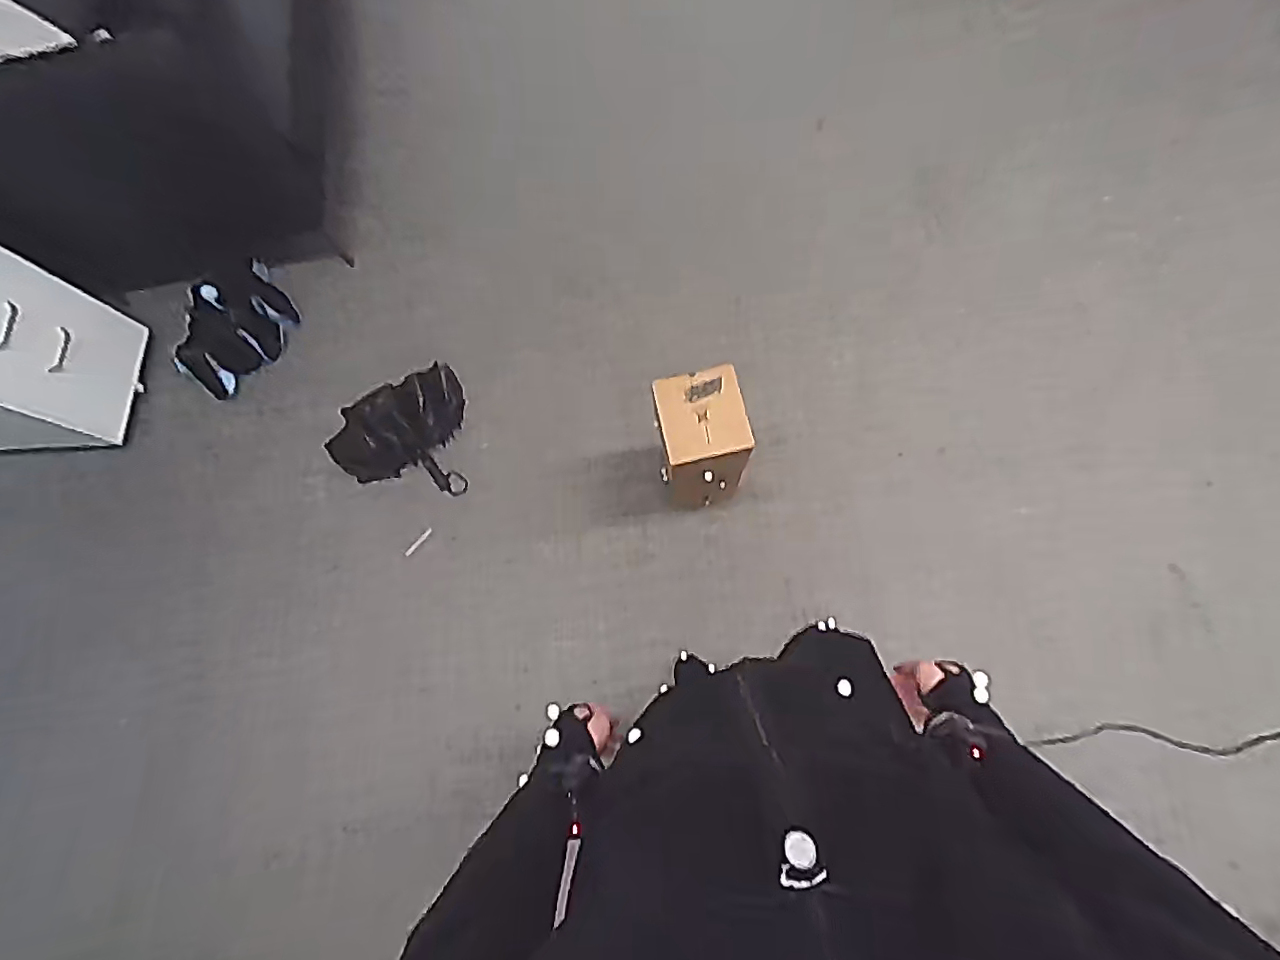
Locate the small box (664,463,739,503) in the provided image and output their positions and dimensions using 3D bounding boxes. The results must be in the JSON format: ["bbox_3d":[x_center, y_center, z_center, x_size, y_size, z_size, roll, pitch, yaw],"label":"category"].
[{"bbox_3d":[0.140,-0.051,1.279,0.168,0.176,0.179,-10,73,2],"label":"small box"}]

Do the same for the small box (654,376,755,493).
[{"bbox_3d":[0.126,-0.087,1.119,0.168,0.176,0.179,-13,75,1],"label":"small box"}]
